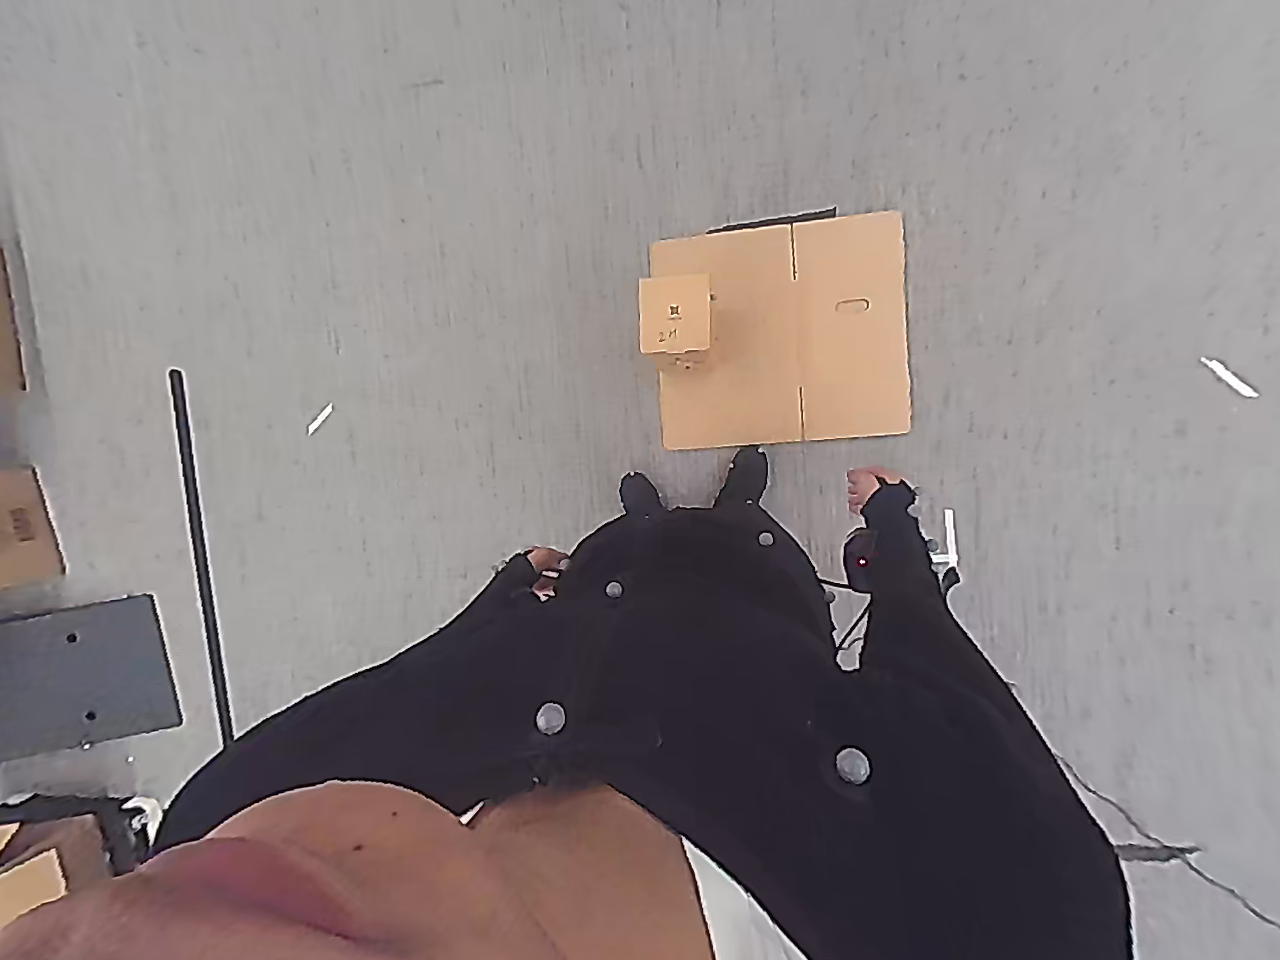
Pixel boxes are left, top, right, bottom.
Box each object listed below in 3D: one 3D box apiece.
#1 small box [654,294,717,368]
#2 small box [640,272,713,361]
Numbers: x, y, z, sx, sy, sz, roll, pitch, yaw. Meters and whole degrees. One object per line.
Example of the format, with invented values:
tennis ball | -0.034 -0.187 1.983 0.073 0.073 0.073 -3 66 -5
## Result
small box | 0.127 -0.400 1.482 0.168 0.176 0.179 -1 96 9
small box | 0.092 -0.392 1.320 0.168 0.176 0.179 0 95 9
